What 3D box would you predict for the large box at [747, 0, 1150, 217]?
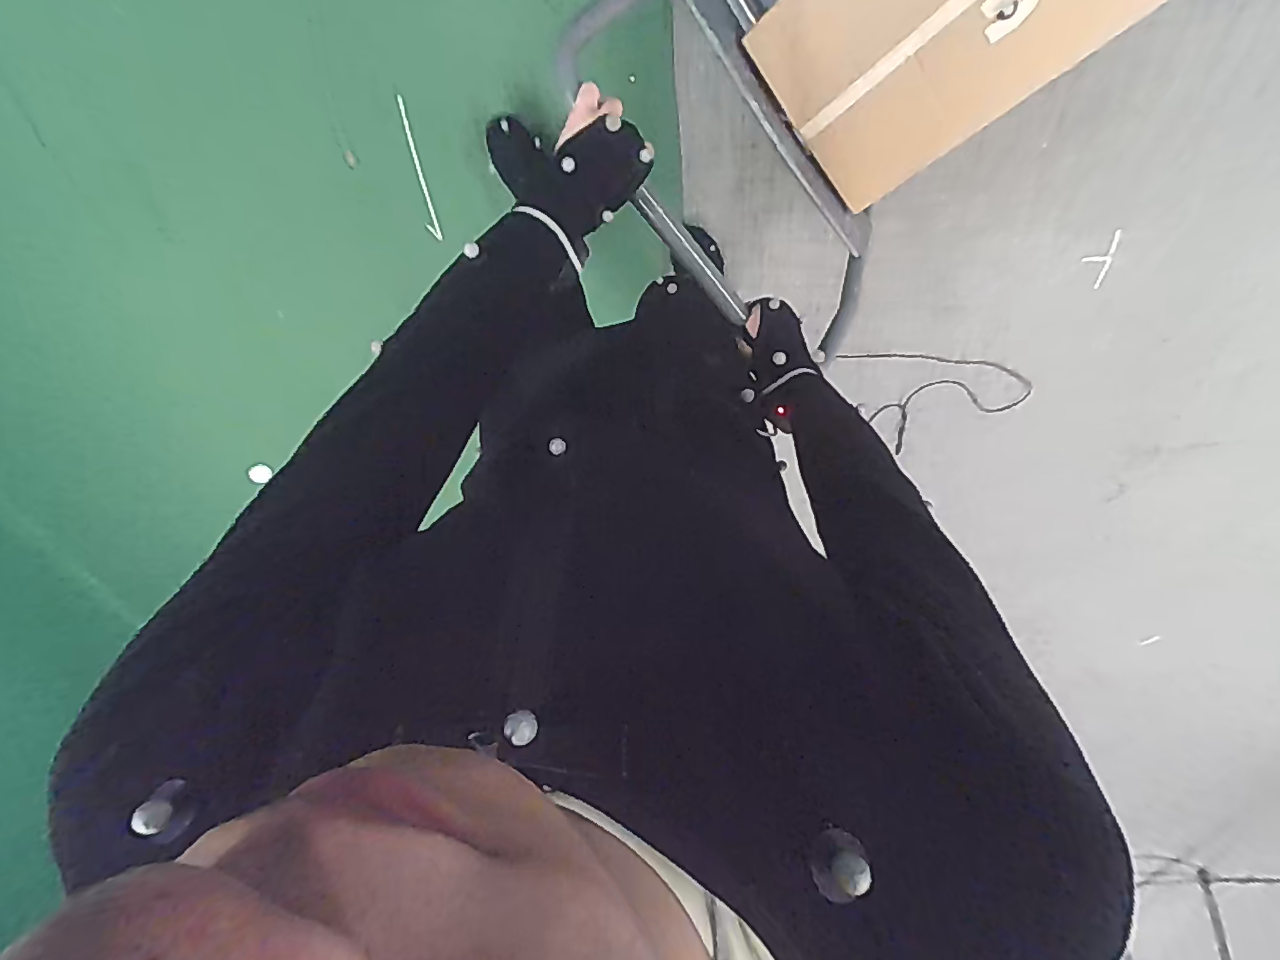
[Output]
[{"bbox_3d":[0.432,-0.706,0.829,0.408,0.320,0.320,-25,121,40],"label":"large box"}]
